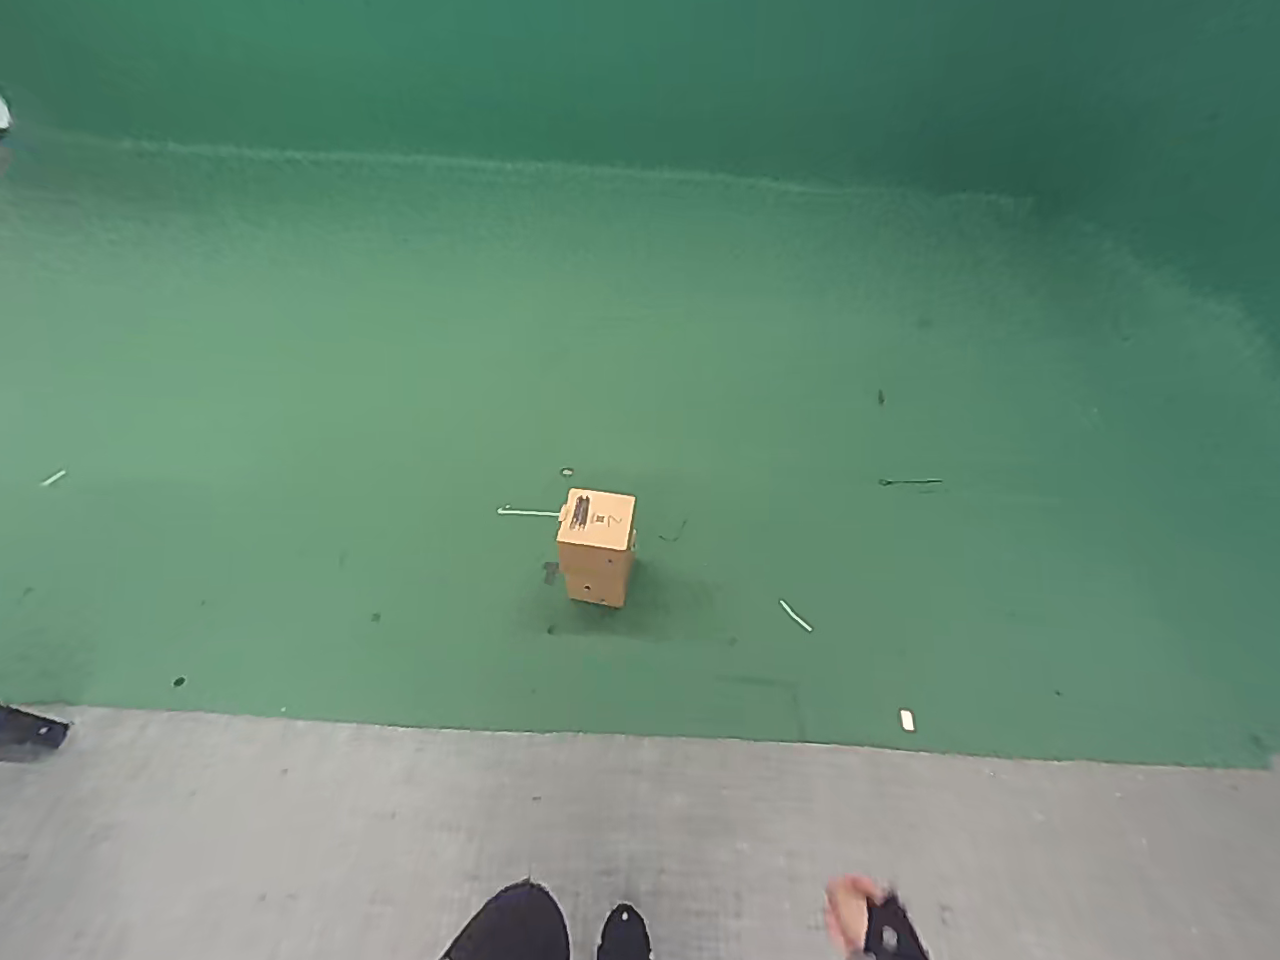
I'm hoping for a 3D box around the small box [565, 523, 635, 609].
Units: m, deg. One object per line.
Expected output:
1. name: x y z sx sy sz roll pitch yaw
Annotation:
1. small box: -0.110 0.251 1.551 0.168 0.176 0.179 10 52 4
